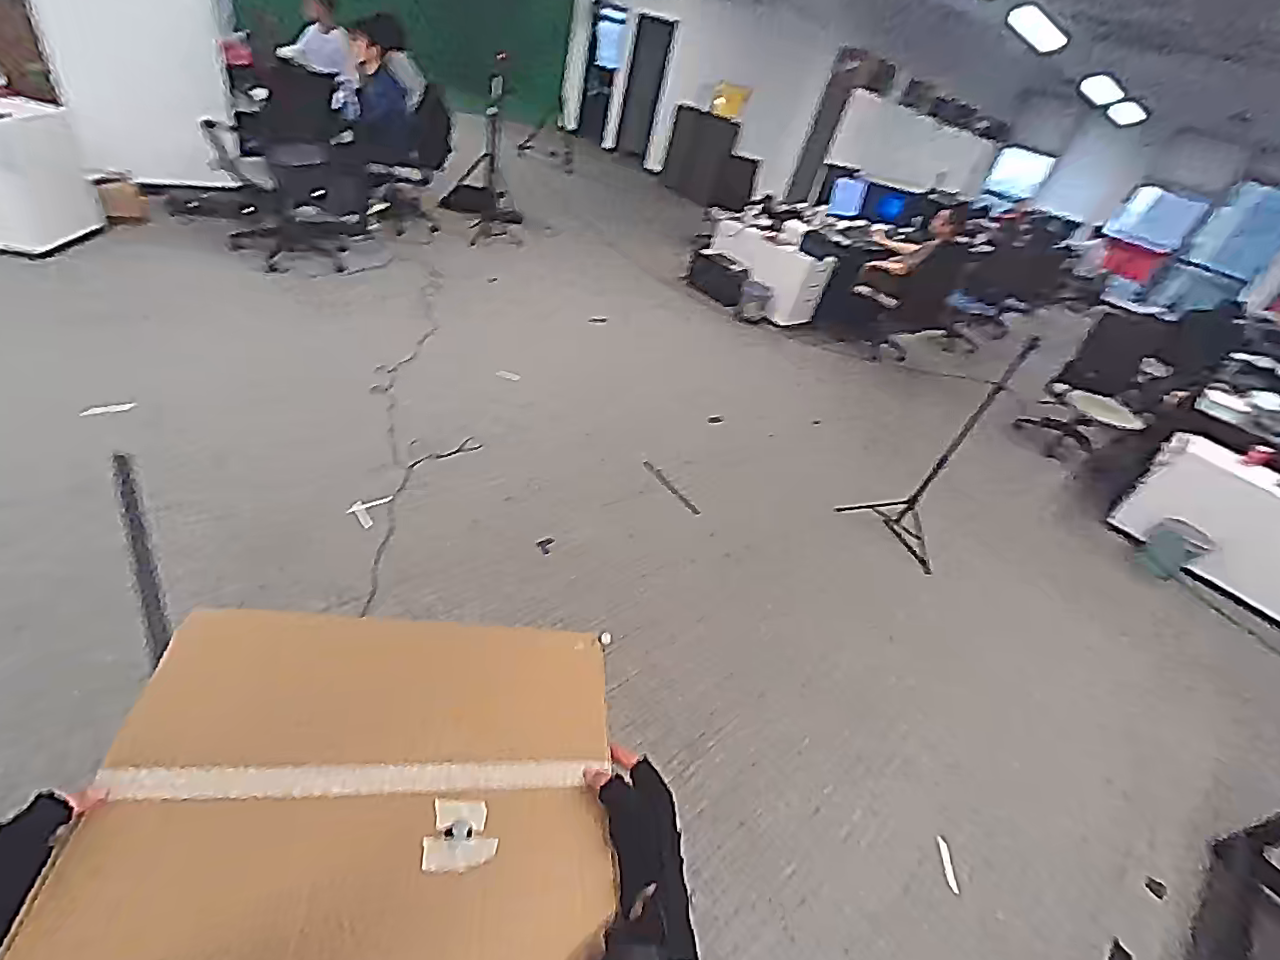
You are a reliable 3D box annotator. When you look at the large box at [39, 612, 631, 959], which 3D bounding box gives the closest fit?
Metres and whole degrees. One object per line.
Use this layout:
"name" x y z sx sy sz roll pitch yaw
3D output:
"large box" -0.259 0.369 0.573 0.408 0.320 0.320 10 41 -17
